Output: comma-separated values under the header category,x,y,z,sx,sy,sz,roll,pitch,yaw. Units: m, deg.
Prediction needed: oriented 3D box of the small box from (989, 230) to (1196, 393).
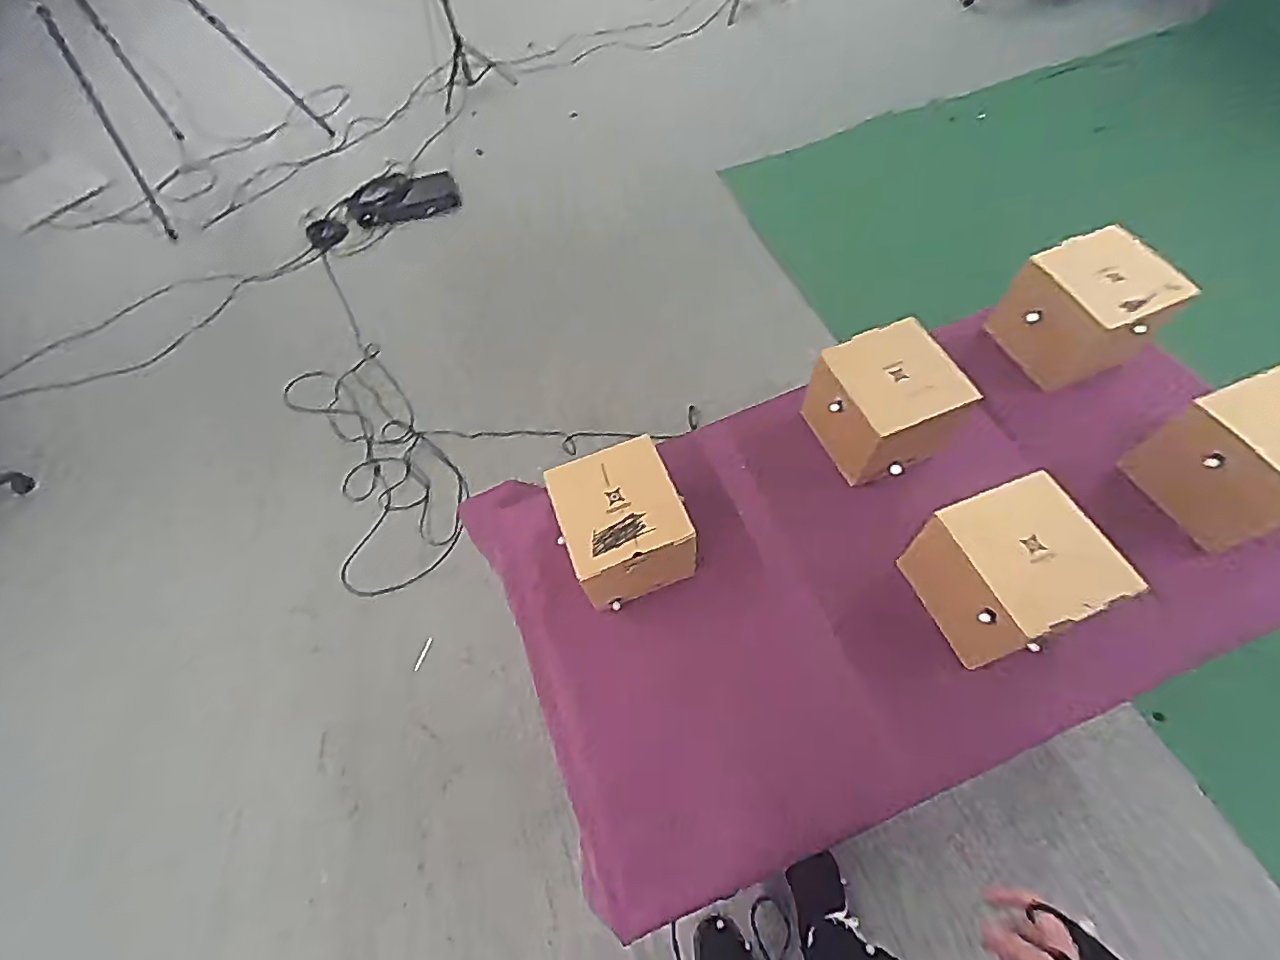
category,x,y,z,sx,sy,sz,roll,pitch,yaw
small box,0.748,-0.282,0.922,0.168,0.176,0.179,-22,62,-4

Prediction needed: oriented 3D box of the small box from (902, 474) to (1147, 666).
category,x,y,z,sx,sy,sz,roll,pitch,yaw
small box,0.490,0.126,0.728,0.168,0.176,0.179,-20,60,-6

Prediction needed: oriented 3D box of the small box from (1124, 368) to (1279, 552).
category,x,y,z,sx,sy,sz,roll,pitch,yaw
small box,0.863,-0.025,0.766,0.168,0.176,0.179,-20,60,-4

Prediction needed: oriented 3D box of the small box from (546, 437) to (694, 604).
category,x,y,z,sx,sy,sz,roll,pitch,yaw
small box,-0.024,0.071,0.811,0.168,0.176,0.179,-21,61,-6

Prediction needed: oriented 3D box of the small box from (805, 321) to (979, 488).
category,x,y,z,sx,sy,sz,roll,pitch,yaw
small box,0.389,-0.117,0.875,0.168,0.176,0.179,-21,62,-5
